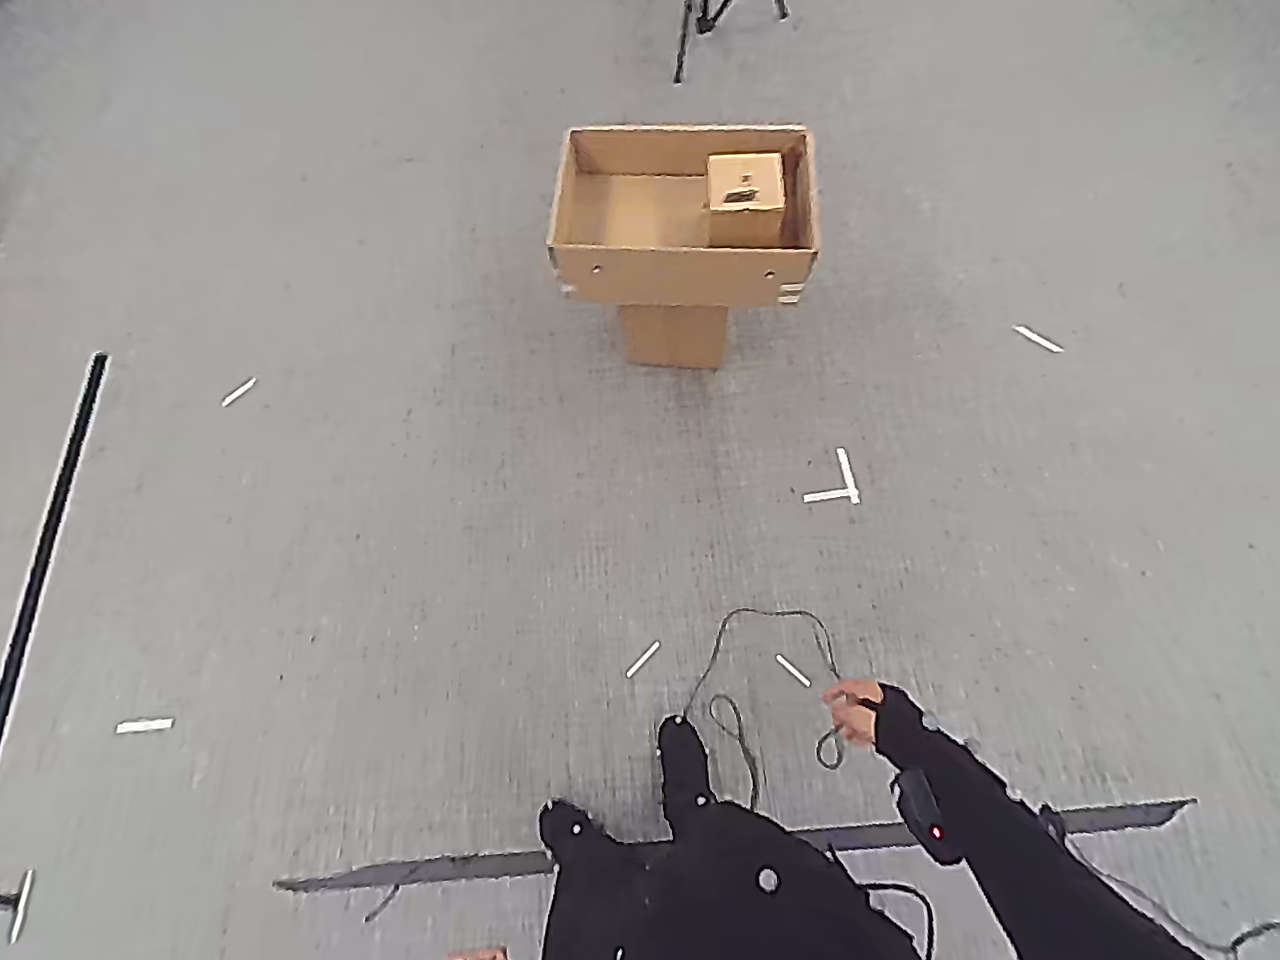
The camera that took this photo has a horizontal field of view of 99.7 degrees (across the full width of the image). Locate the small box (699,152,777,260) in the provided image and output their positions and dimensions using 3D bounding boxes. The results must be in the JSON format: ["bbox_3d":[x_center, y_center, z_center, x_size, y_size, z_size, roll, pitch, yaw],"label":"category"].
[{"bbox_3d":[0.232,-0.655,1.311,0.168,0.176,0.179,0,69,3],"label":"small box"}]
